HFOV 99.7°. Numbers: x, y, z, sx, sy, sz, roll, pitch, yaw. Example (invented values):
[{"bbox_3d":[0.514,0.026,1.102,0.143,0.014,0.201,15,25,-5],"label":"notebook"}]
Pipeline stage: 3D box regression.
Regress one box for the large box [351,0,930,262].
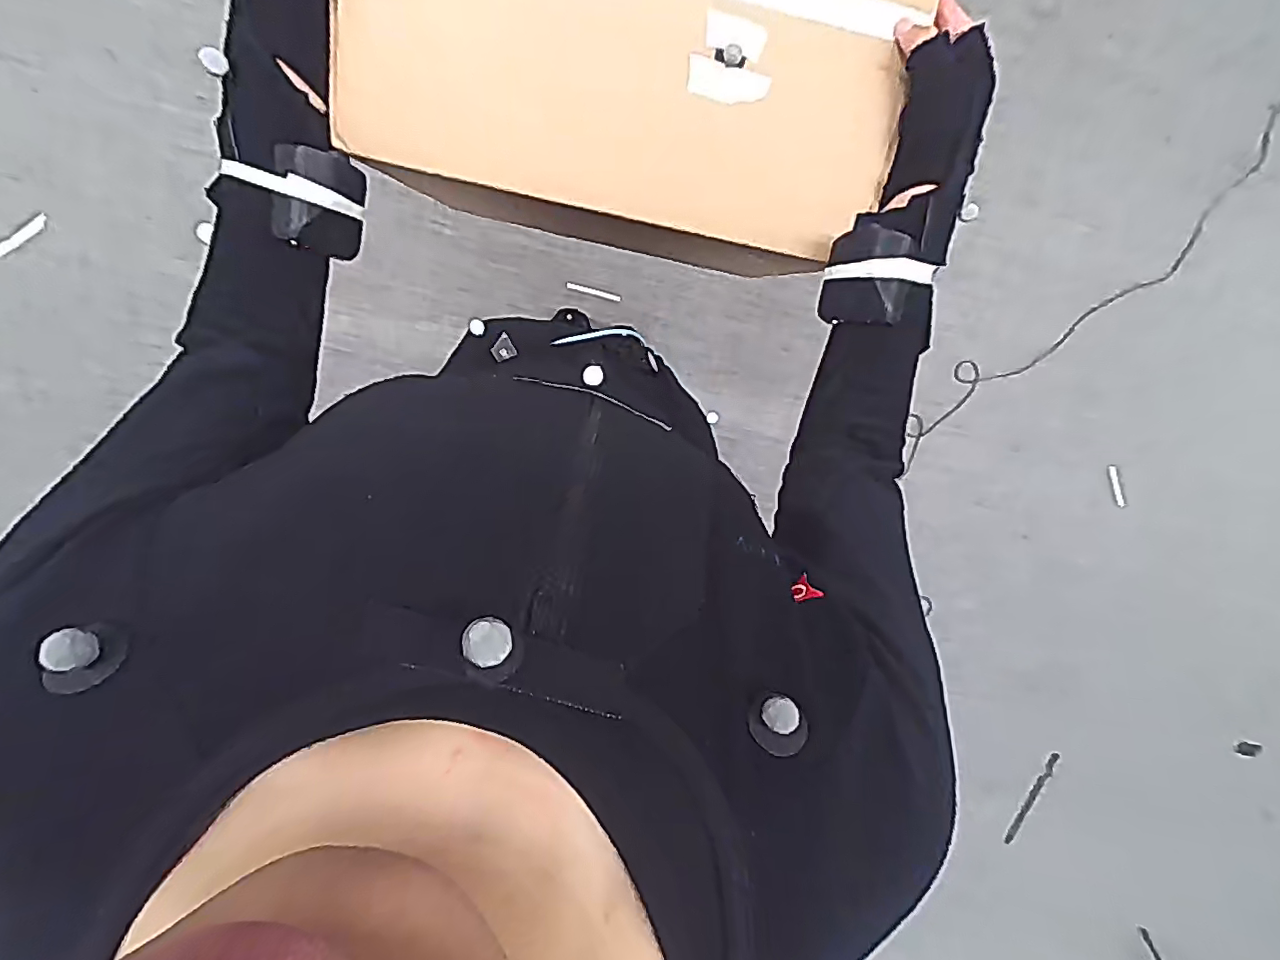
[{"bbox_3d":[-0.001,-0.409,0.508,0.408,0.320,0.320,9,110,-8],"label":"large box"}]
